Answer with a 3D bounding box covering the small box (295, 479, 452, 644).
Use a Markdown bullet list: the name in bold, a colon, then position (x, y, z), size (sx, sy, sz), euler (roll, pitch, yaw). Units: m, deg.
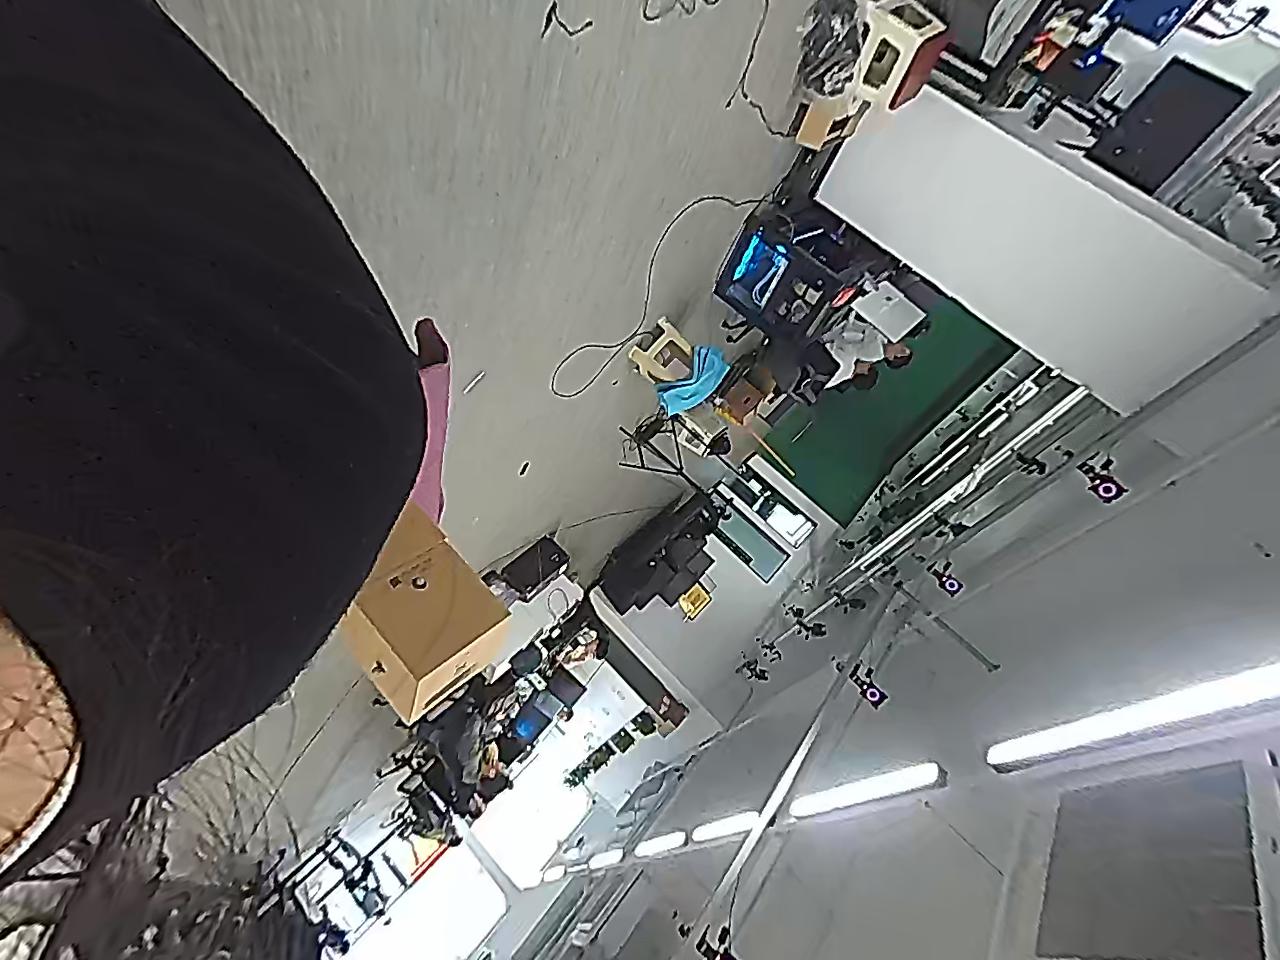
- **small box**: position (-0.440, 0.130, 0.896), size (0.168, 0.176, 0.179), euler (-34, 160, -43)
